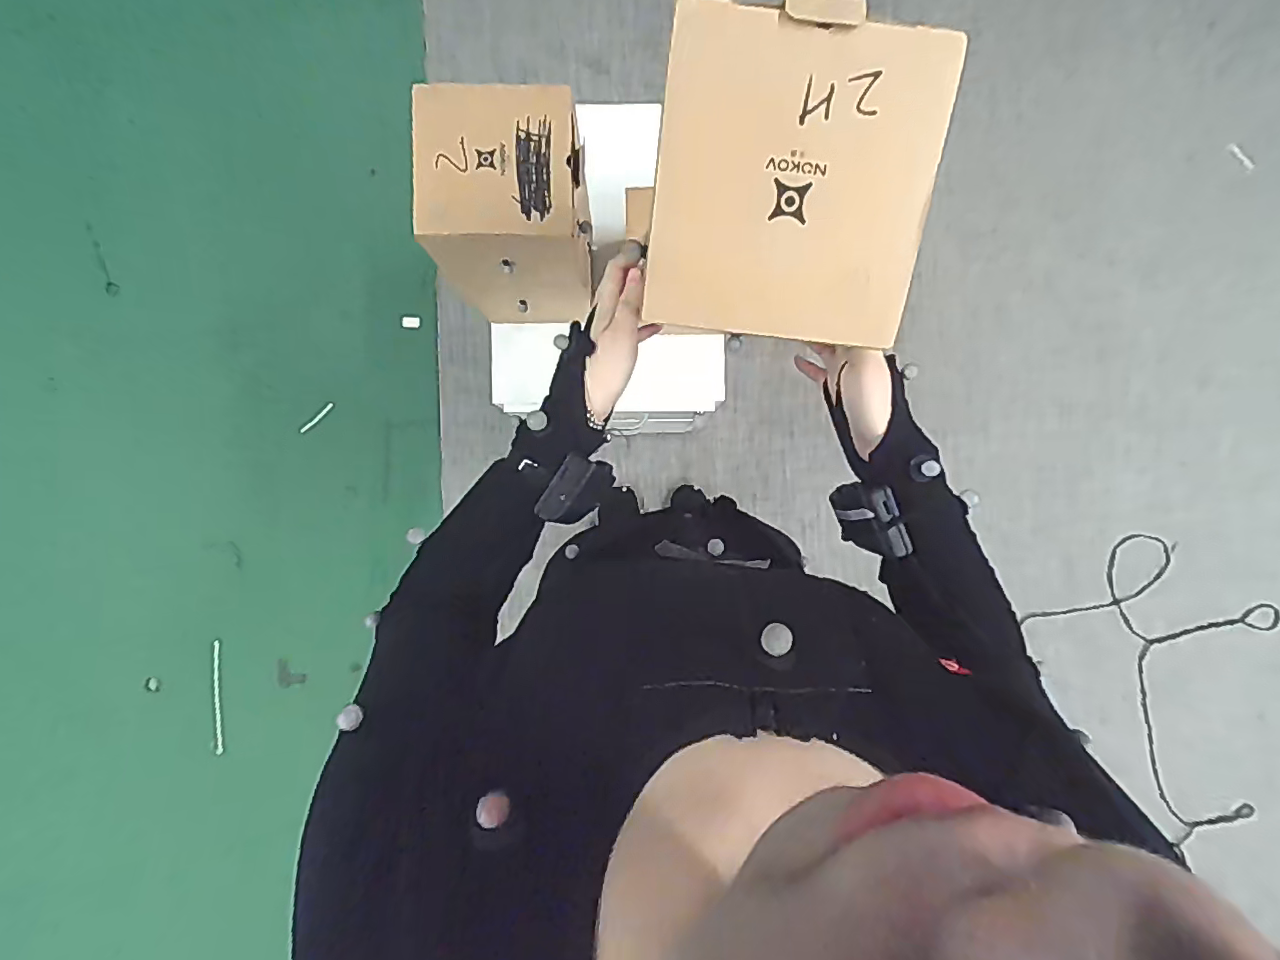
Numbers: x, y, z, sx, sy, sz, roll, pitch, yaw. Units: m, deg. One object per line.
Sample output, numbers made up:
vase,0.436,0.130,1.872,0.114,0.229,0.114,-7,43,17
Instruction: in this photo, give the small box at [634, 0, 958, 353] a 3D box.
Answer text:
small box,0.088,-0.197,0.399,0.168,0.176,0.179,6,107,-2

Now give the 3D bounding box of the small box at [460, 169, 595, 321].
small box,-0.163,-0.349,0.830,0.179,0.176,0.168,-1,90,-1
